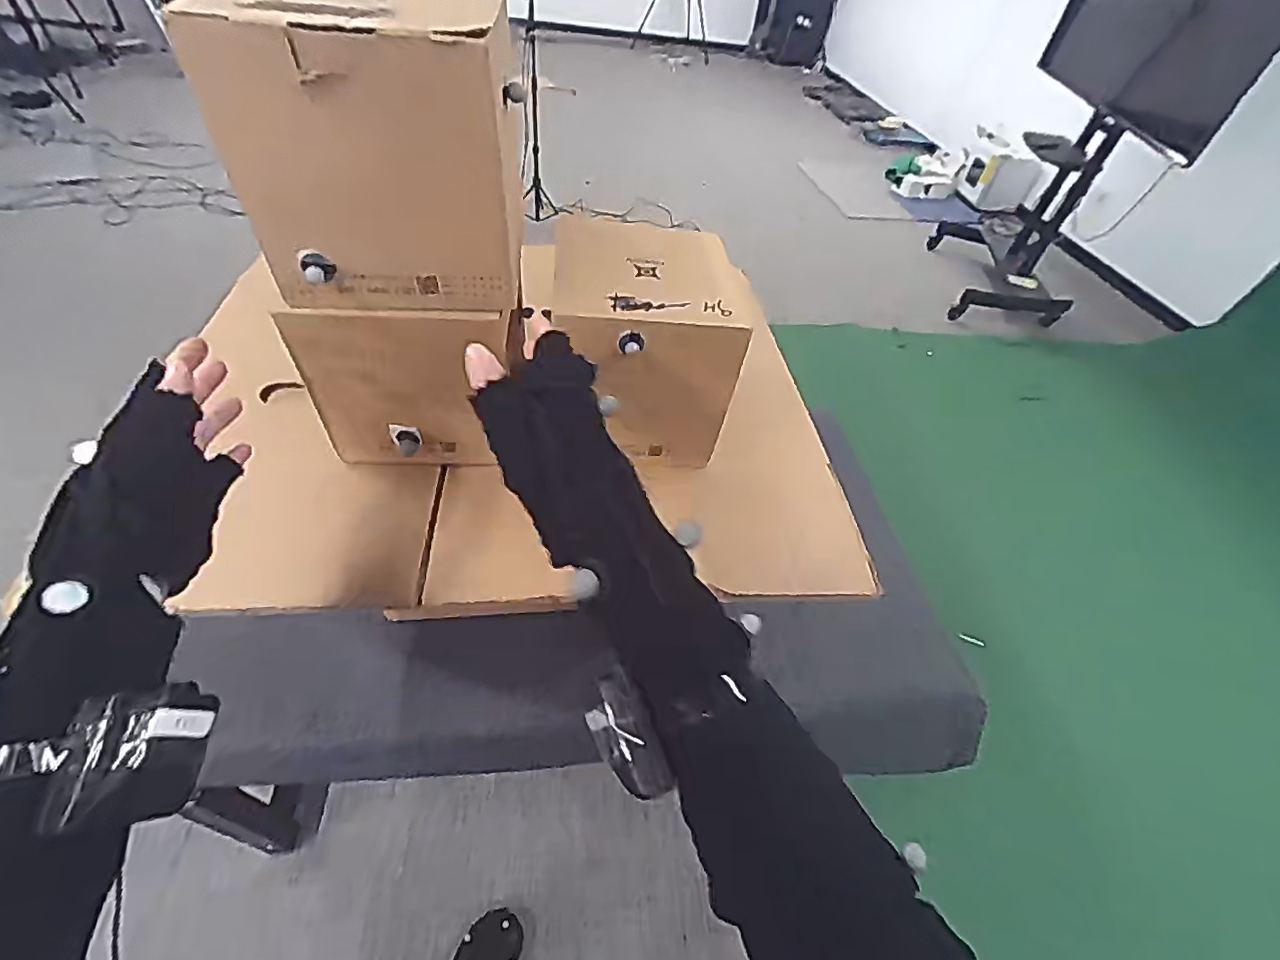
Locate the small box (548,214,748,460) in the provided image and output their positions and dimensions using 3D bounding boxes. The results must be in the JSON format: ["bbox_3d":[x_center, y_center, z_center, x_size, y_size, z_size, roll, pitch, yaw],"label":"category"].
[{"bbox_3d":[-0.007,-0.143,0.553,0.168,0.176,0.179,2,48,-9],"label":"small box"}]

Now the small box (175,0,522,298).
[{"bbox_3d":[-0.181,-0.254,0.409,0.168,0.176,0.179,-1,48,-8],"label":"small box"}]
